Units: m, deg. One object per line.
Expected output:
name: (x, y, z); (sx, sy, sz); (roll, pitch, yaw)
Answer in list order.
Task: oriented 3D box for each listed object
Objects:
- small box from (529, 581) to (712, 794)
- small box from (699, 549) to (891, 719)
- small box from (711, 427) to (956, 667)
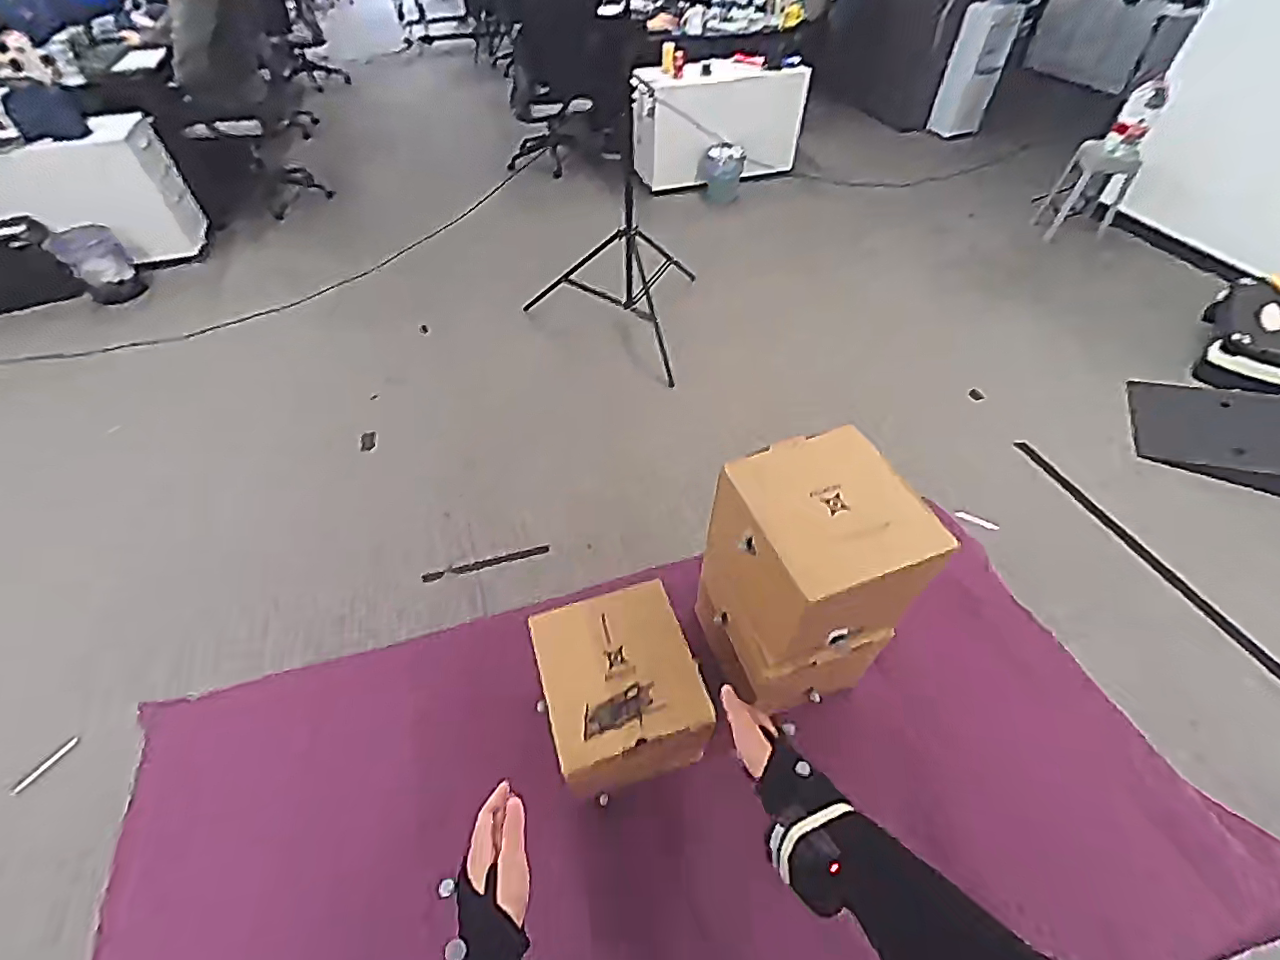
small box: (-0.026, 0.256, 0.654); (0.168, 0.176, 0.179); (-14, 51, -13)
small box: (0.186, 0.185, 0.716); (0.168, 0.176, 0.179); (-15, 52, -11)
small box: (0.190, 0.075, 0.597); (0.168, 0.176, 0.179); (-17, 53, -13)
